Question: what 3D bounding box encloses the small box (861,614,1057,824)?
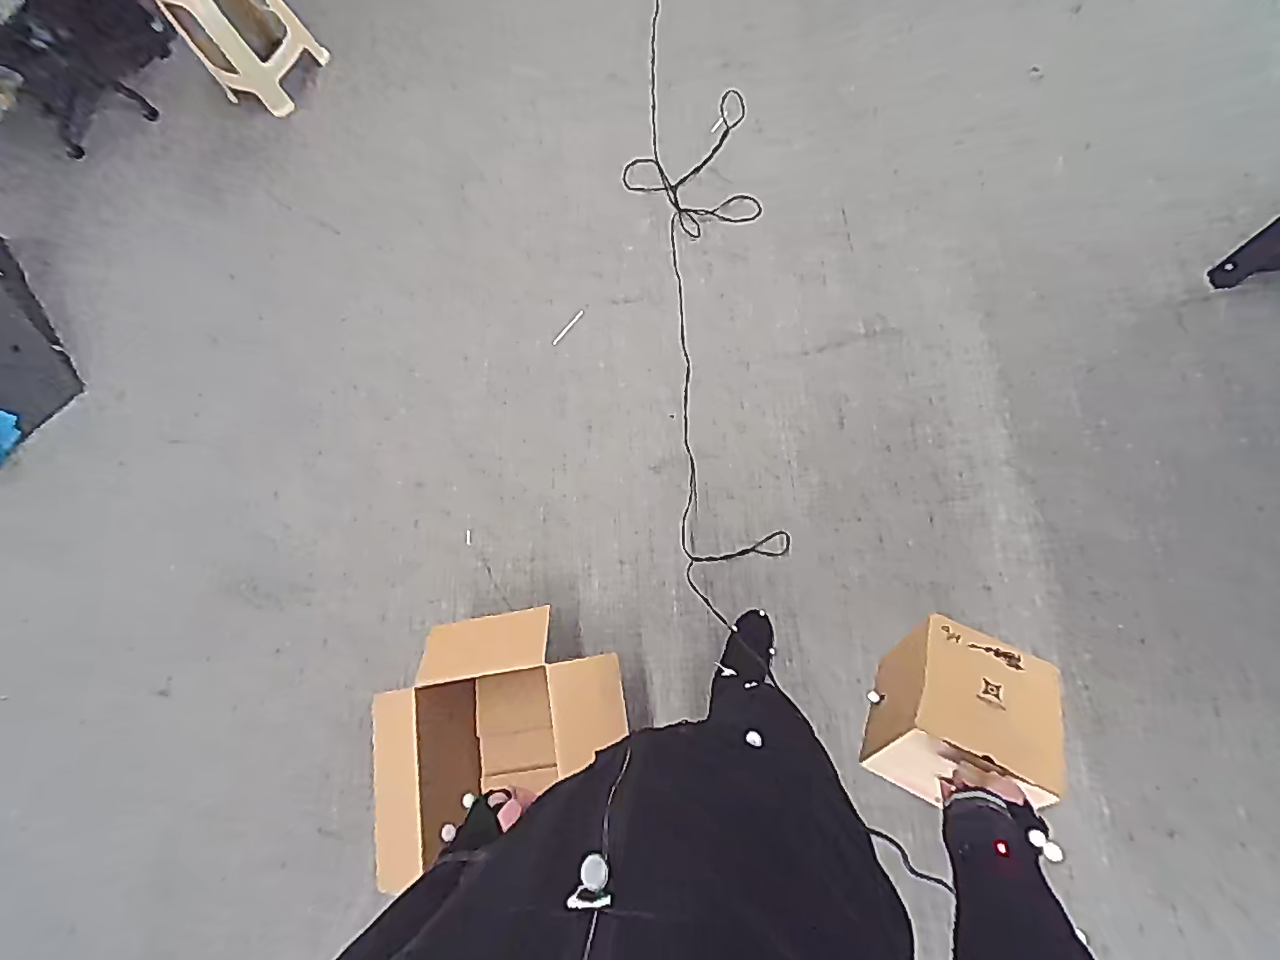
[{"bbox_3d":[0.417,0.322,0.723,0.168,0.176,0.179,25,50,14],"label":"small box"}]
